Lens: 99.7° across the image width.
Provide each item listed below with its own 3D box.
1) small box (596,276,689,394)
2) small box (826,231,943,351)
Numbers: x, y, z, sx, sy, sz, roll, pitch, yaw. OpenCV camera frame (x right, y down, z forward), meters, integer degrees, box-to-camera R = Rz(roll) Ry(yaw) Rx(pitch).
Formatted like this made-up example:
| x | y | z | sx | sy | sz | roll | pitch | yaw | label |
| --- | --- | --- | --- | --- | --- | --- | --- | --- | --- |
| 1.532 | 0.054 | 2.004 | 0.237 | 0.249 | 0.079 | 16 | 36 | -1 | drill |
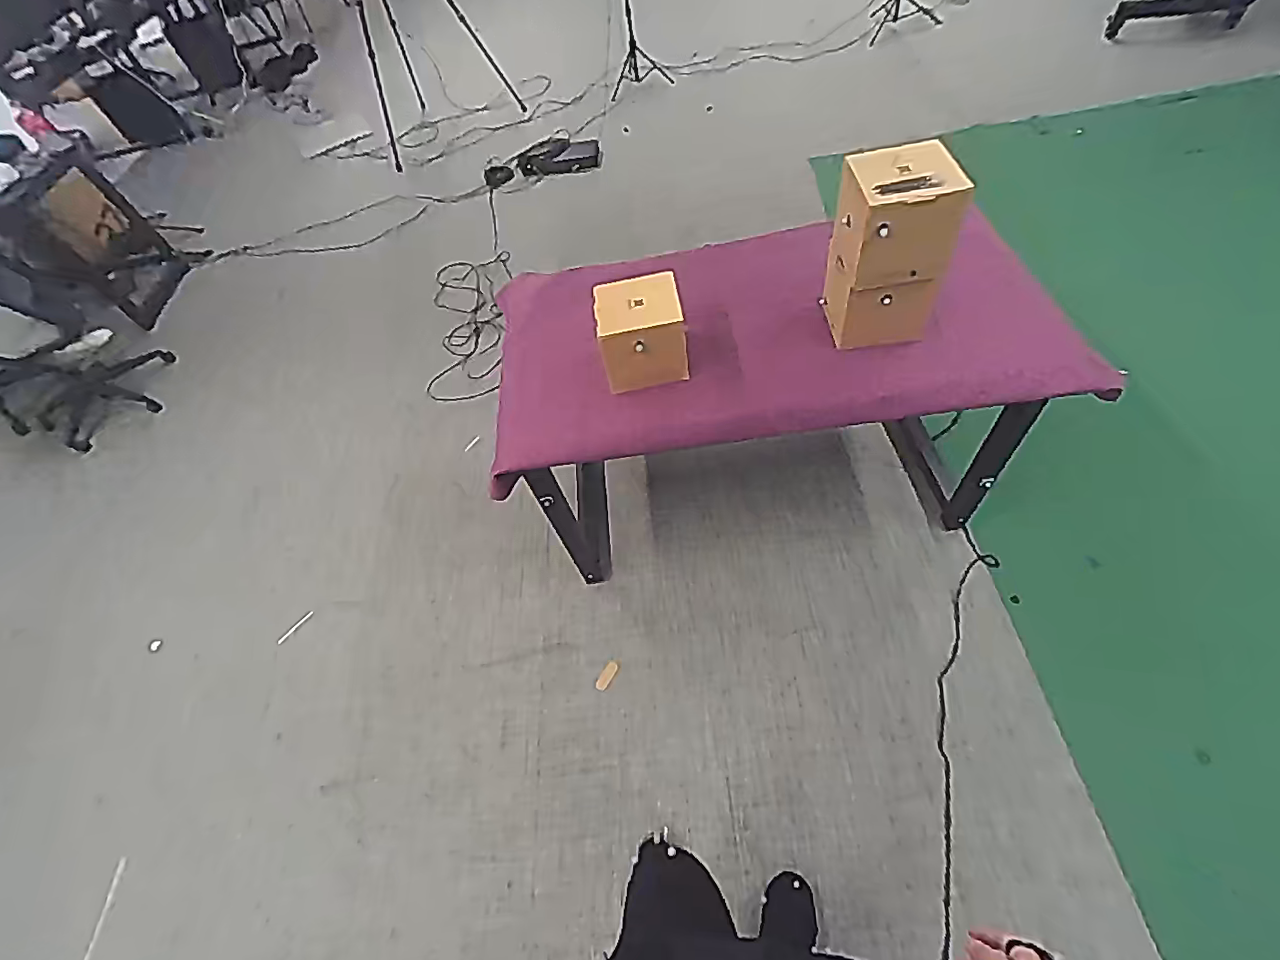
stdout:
| x | y | z | sx | sy | sz | roll | pitch | yaw | label |
| --- | --- | --- | --- | --- | --- | --- | --- | --- | --- |
| 0.009 | -0.311 | 1.177 | 0.179 | 0.176 | 0.168 | -10 | 55 | 4 | small box |
| 0.499 | -0.391 | 1.137 | 0.179 | 0.176 | 0.168 | -6 | 55 | 6 | small box |
